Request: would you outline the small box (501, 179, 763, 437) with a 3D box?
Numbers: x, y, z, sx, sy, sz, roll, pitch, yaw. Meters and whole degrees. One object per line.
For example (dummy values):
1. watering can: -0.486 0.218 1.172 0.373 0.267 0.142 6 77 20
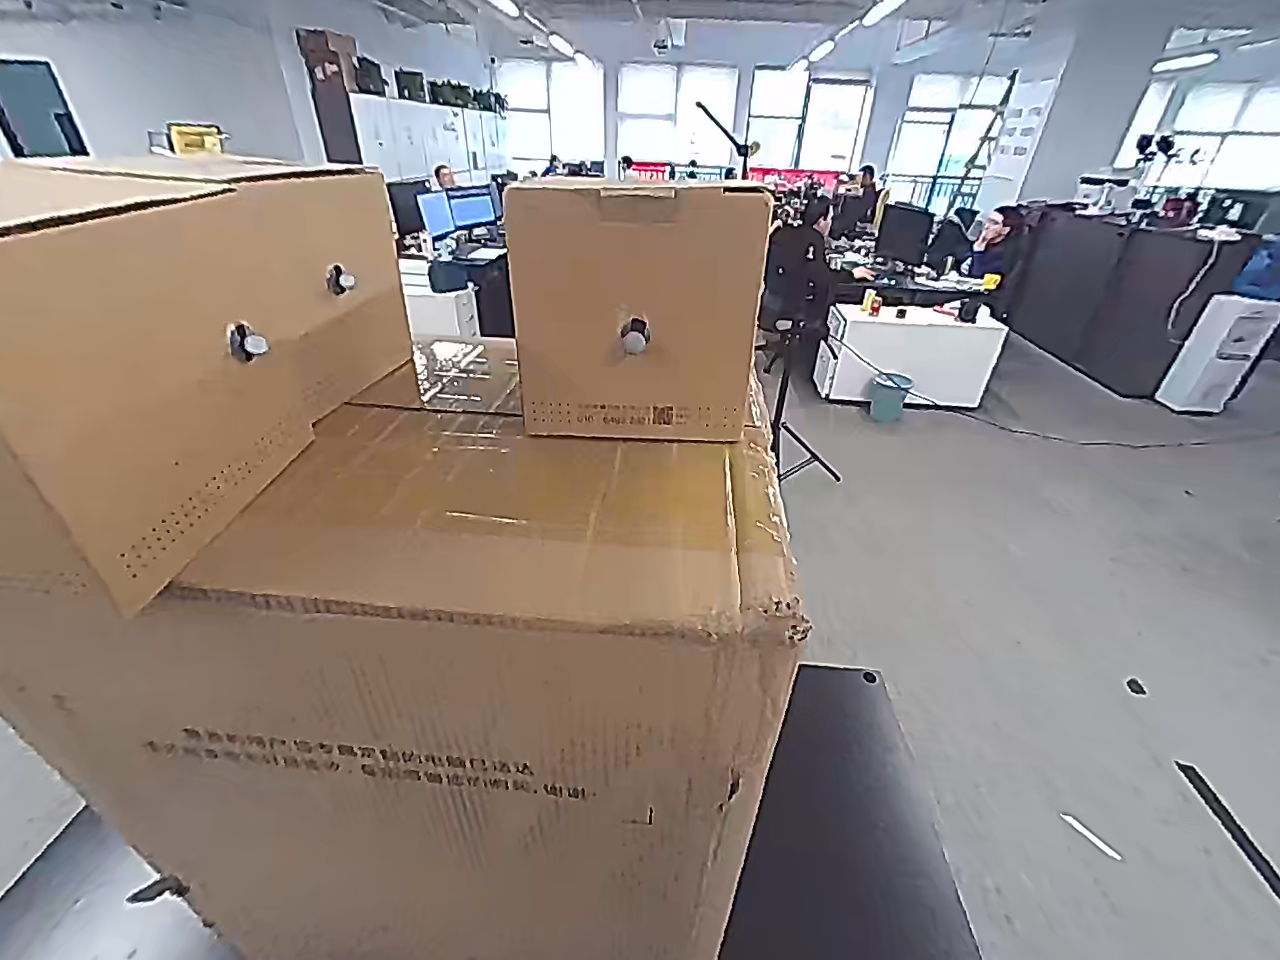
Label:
1. small box: -0.003 -0.145 0.441 0.168 0.176 0.179 2 31 1
